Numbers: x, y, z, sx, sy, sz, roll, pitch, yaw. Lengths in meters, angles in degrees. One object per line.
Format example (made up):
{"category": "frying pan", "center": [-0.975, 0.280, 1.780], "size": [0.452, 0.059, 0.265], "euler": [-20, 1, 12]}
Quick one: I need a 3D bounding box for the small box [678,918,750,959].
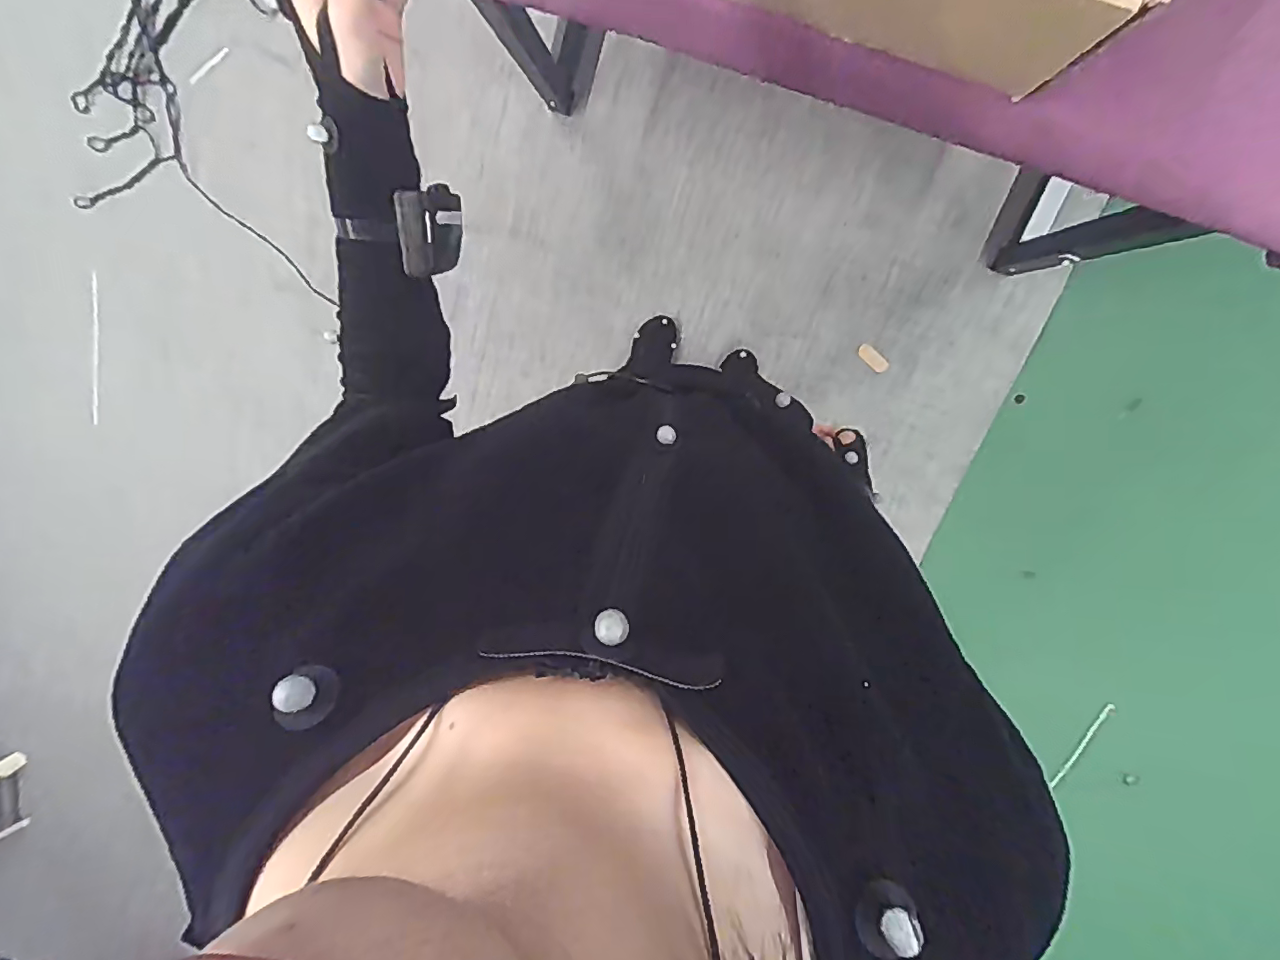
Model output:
{"category": "small box", "center": [0.195, 1.318, 1.437], "size": [0.179, 0.176, 0.168], "euler": [9, 103, 6]}
